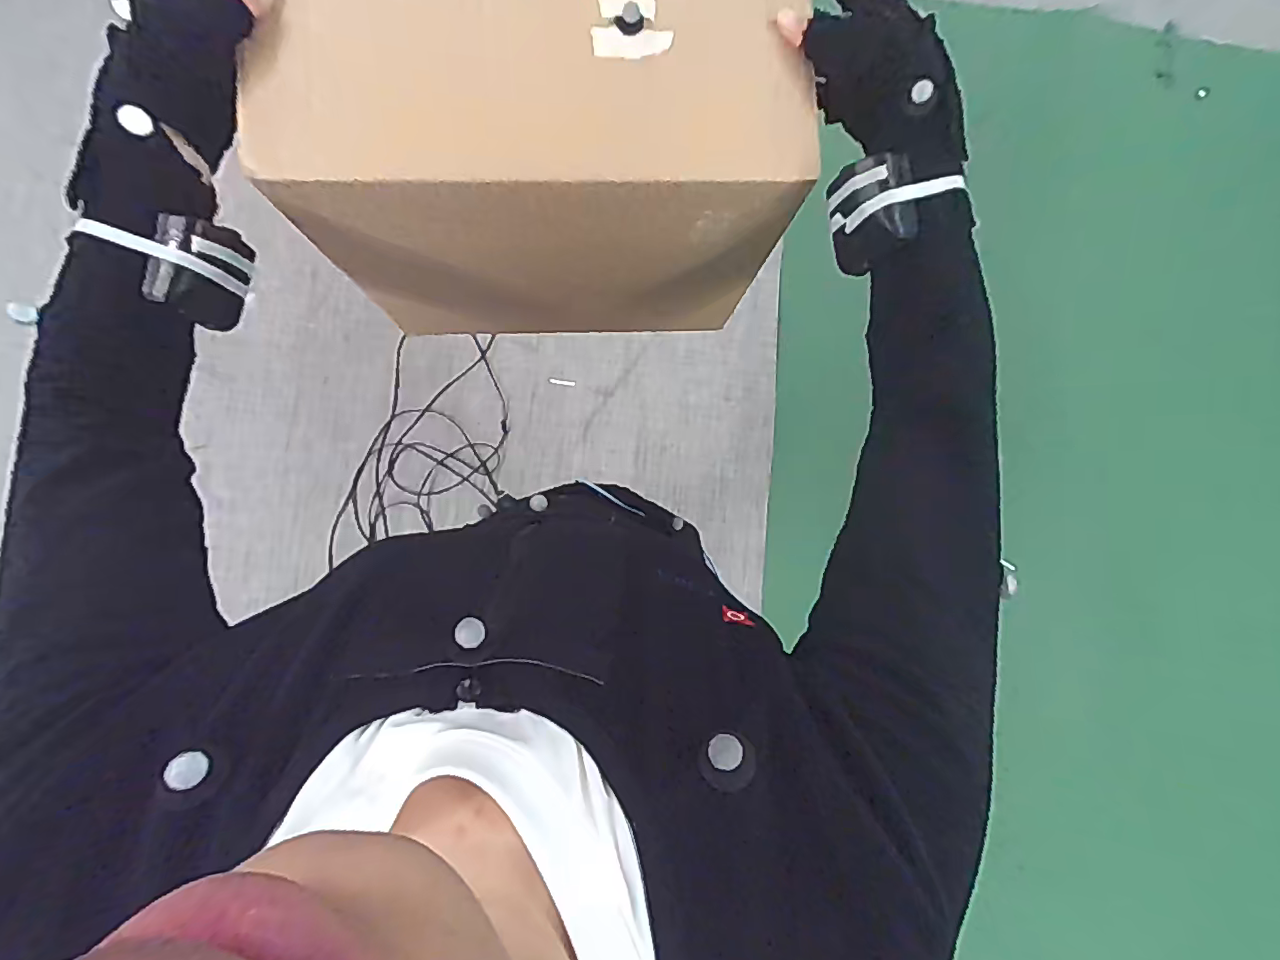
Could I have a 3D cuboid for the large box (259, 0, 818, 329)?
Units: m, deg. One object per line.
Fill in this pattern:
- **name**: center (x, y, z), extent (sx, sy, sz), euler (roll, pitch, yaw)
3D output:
- **large box**: center (-0.086, -0.359, 0.547), extent (0.408, 0.320, 0.320), euler (-2, 86, -6)
